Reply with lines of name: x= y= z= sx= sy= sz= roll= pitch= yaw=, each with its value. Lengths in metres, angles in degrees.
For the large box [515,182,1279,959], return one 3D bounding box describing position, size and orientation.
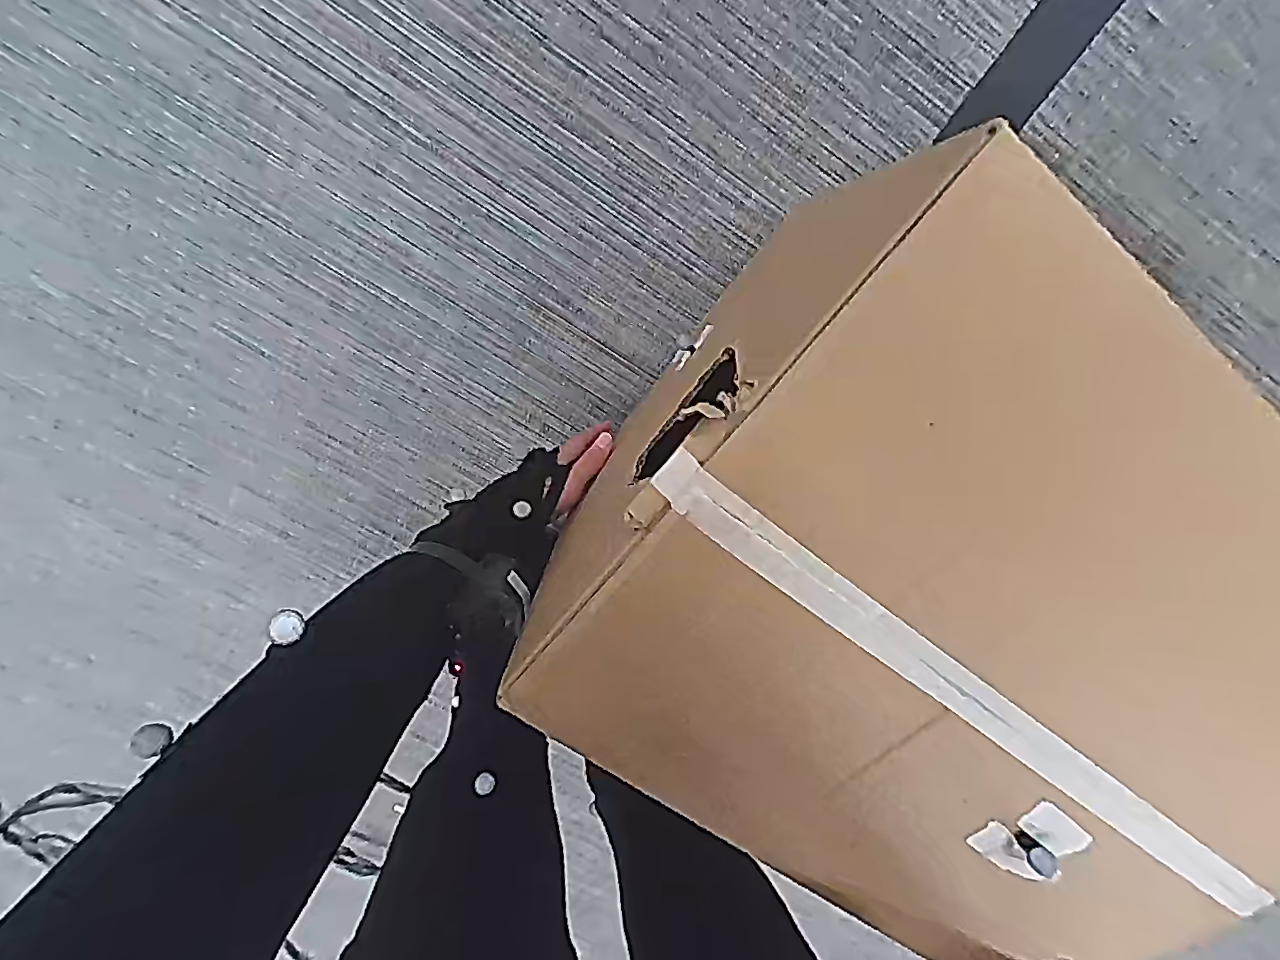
large box: x=0.183 y=0.060 z=0.408 sx=0.408 sy=0.320 sz=0.320 roll=36 pitch=110 yaw=-12
